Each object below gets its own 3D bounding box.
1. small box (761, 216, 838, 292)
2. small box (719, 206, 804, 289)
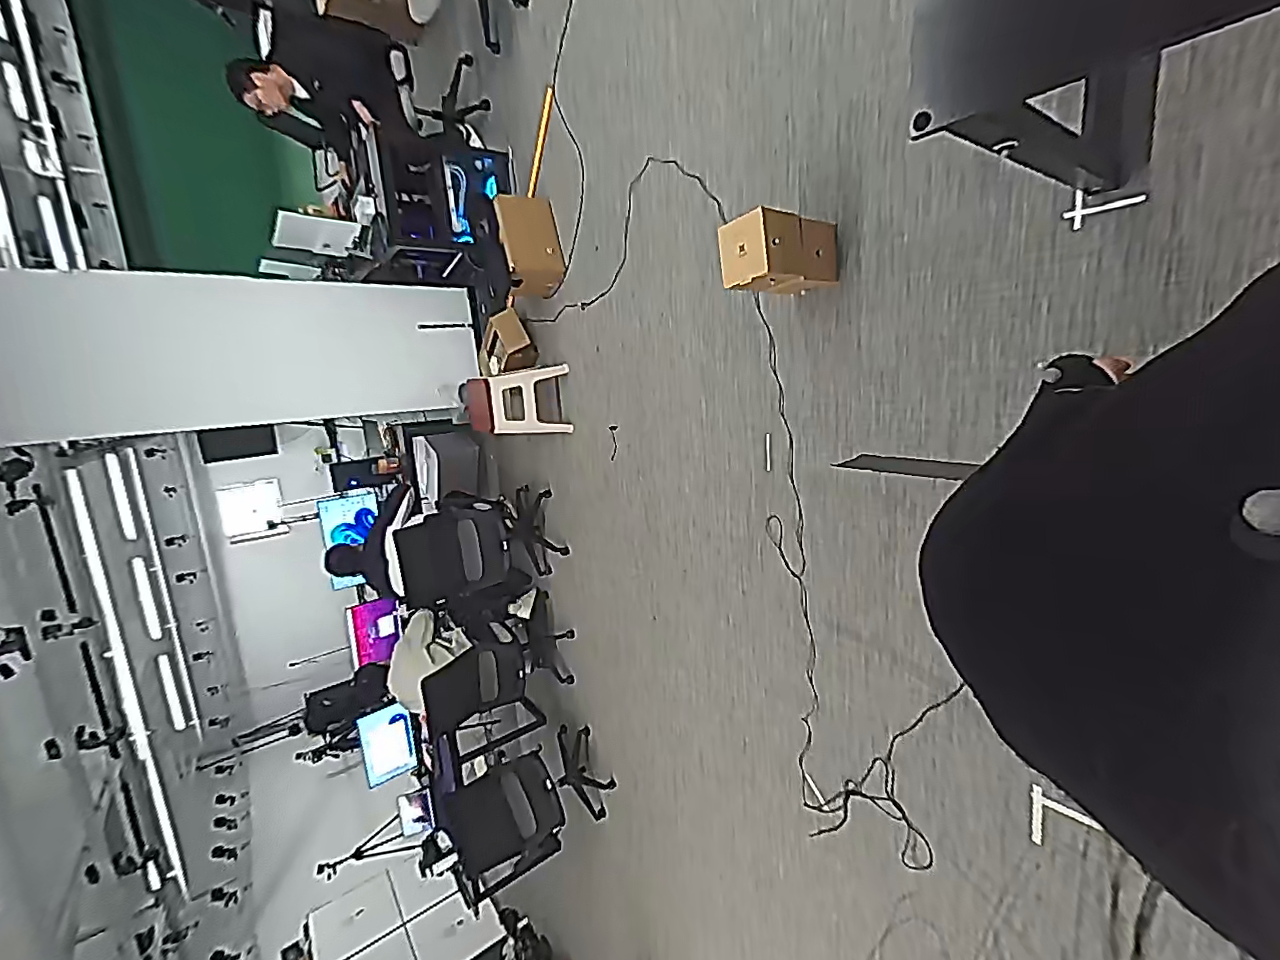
[{"bbox_3d":[0.482,-0.678,1.643,0.168,0.176,0.179,5,105,53],"label":"small box"},{"bbox_3d":[0.351,-0.657,1.549,0.168,0.176,0.179,0,99,53],"label":"small box"}]
